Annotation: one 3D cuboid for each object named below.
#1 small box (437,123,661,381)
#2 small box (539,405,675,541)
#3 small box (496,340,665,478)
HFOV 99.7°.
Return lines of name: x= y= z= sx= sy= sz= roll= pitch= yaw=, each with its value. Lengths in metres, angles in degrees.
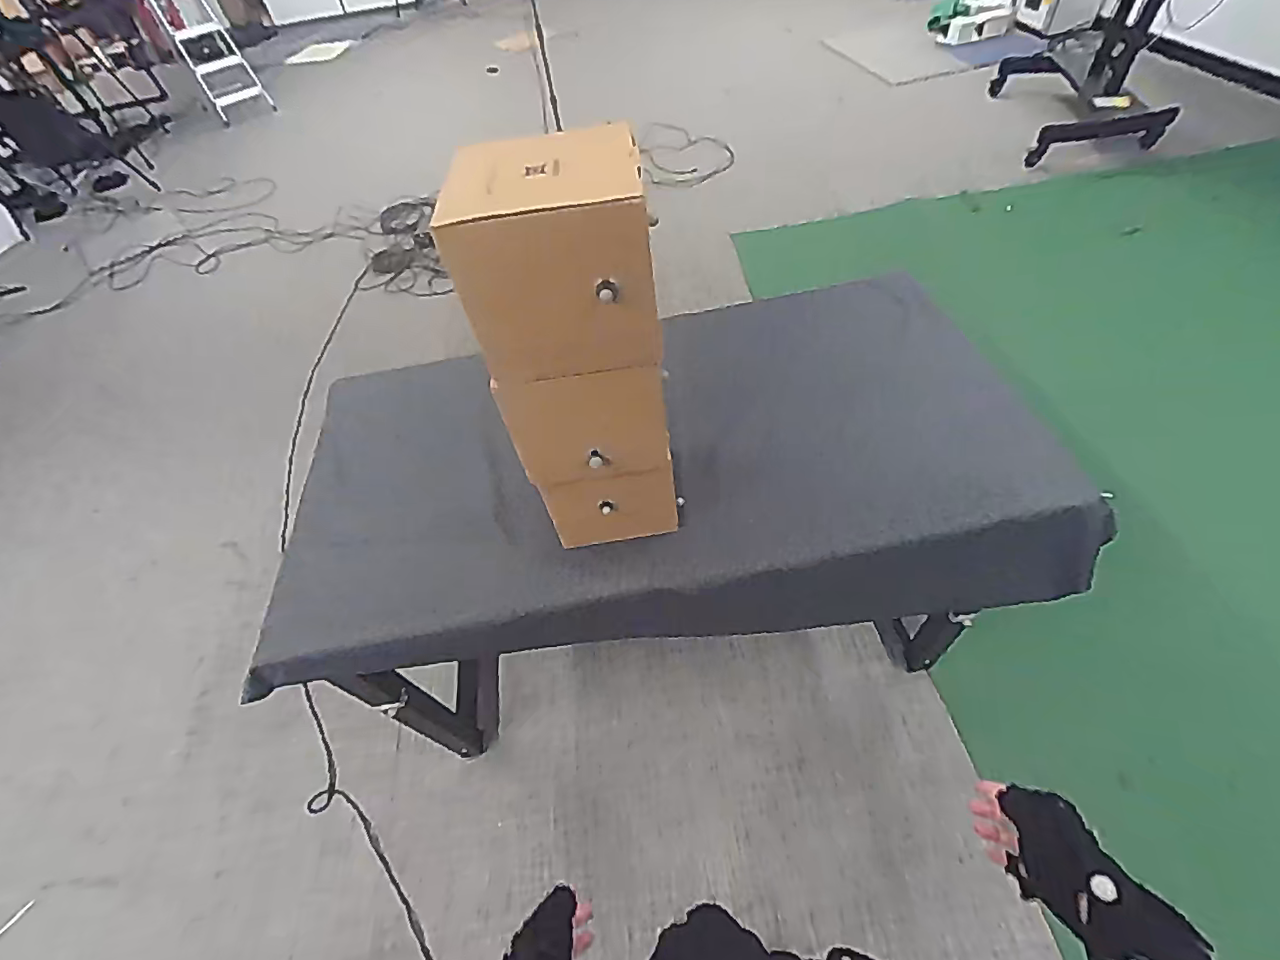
small box: x=-0.074 y=-0.221 z=0.539 sx=0.179 sy=0.176 sz=0.168 roll=-8 pitch=50 yaw=2
small box: x=-0.044 y=-0.028 z=0.800 sx=0.179 sy=0.176 sz=0.168 roll=-9 pitch=51 yaw=2
small box: x=-0.064 y=-0.121 z=0.667 sx=0.179 sy=0.176 sz=0.168 roll=-8 pitch=51 yaw=1
